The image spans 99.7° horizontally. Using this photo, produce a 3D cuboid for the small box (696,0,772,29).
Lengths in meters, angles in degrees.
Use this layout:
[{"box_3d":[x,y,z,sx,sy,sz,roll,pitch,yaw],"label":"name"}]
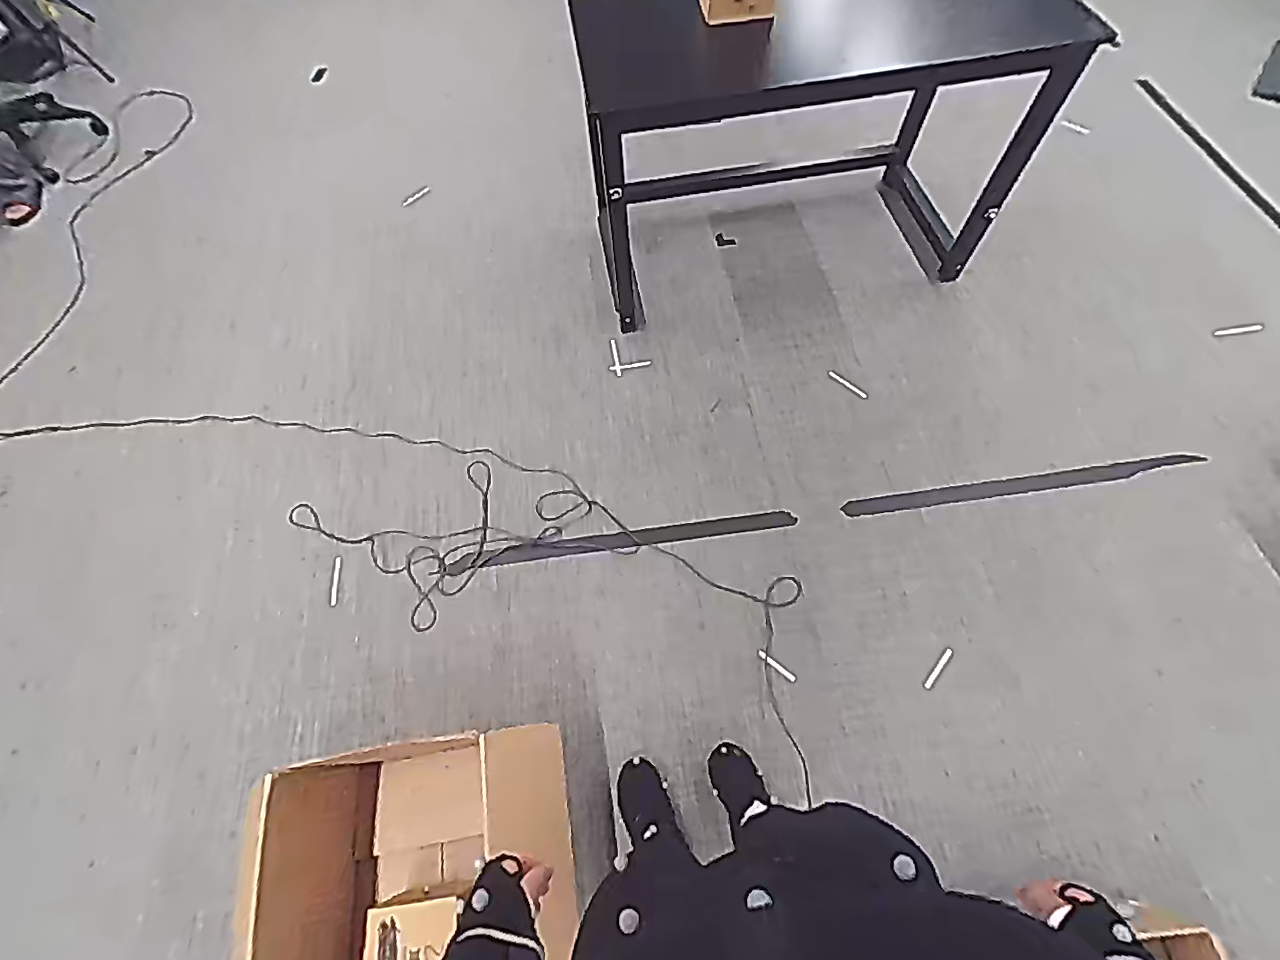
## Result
[{"box_3d":[0.227,-1.233,1.304,0.168,0.176,0.179,-8,64,-1],"label":"small box"}]
